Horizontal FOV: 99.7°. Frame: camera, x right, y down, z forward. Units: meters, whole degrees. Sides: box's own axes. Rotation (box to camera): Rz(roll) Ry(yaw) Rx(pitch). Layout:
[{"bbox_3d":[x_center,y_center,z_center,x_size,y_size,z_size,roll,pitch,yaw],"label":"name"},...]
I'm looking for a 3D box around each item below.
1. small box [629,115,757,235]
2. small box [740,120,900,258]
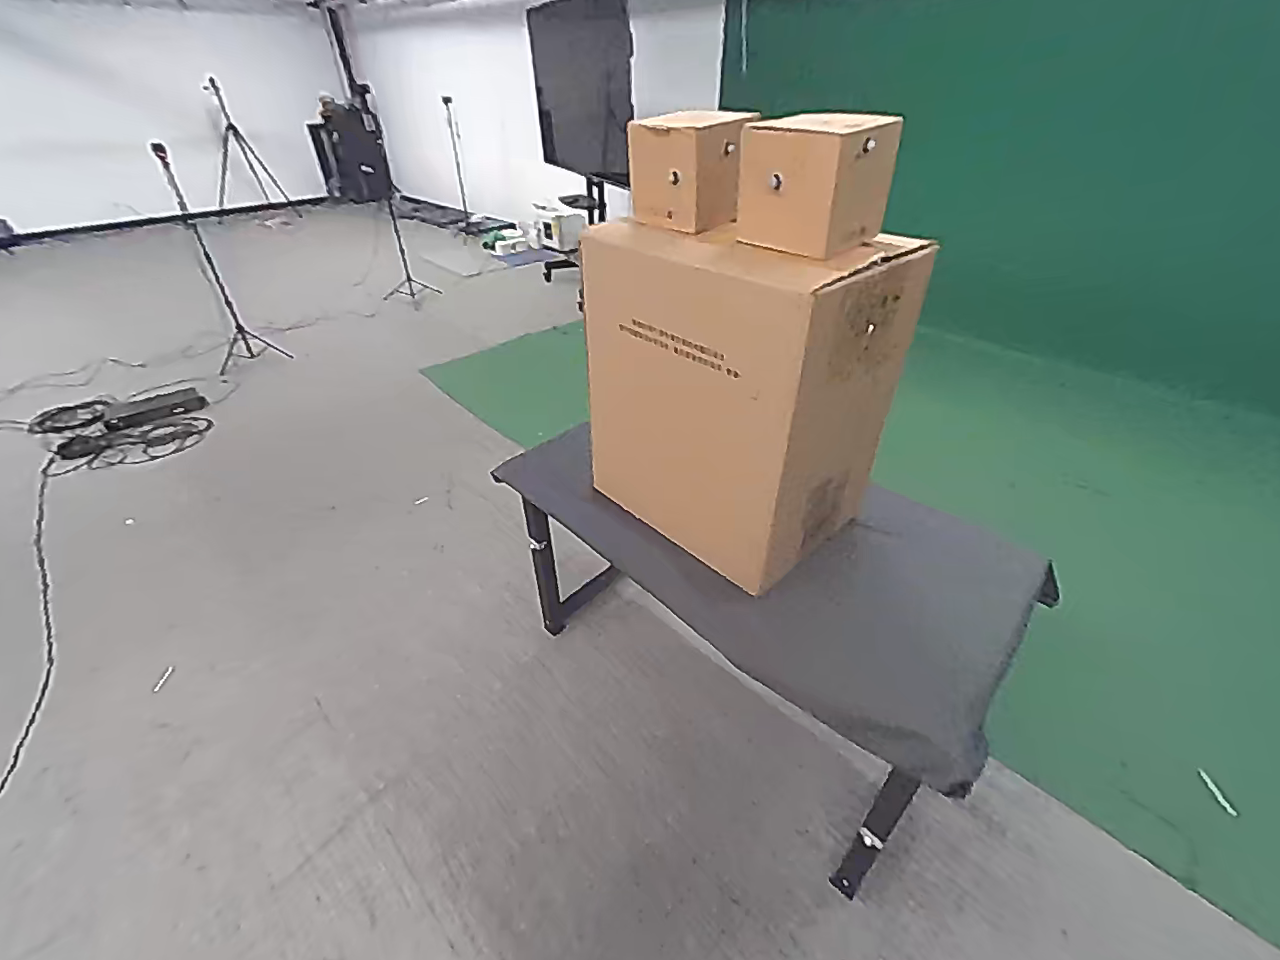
[{"bbox_3d":[0.099,-0.575,1.017,0.179,0.176,0.168,-32,48,-32],"label":"small box"},{"bbox_3d":[0.276,-0.467,0.865,0.168,0.176,0.179,-32,46,-30],"label":"small box"}]
